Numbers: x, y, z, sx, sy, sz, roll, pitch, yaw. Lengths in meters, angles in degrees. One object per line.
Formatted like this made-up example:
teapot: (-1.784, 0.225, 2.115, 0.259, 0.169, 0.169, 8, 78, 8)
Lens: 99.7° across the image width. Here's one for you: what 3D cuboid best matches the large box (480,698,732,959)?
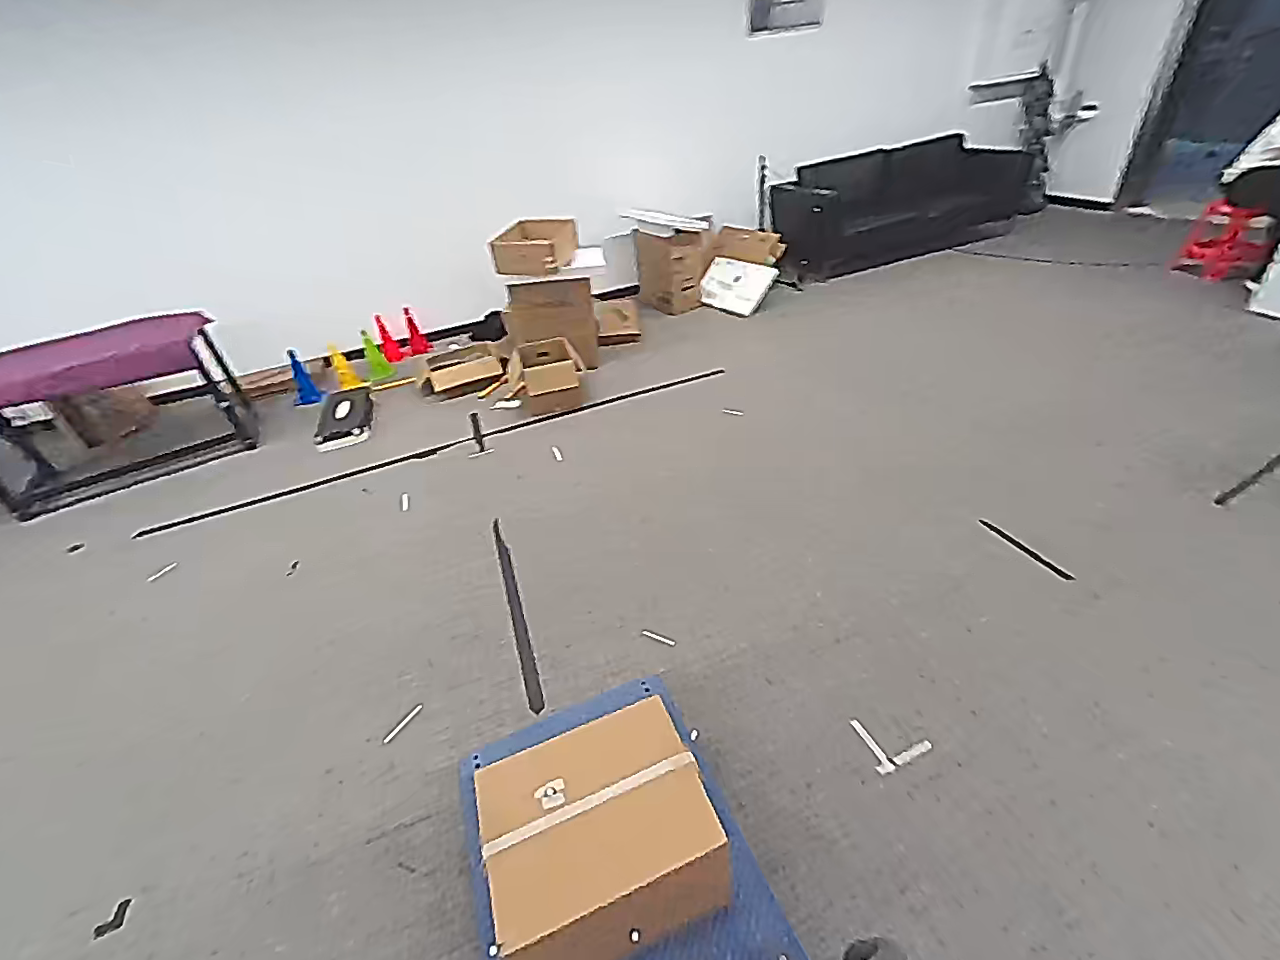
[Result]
large box: (-0.063, 0.730, 1.098, 0.408, 0.320, 0.320, -19, 36, -13)
